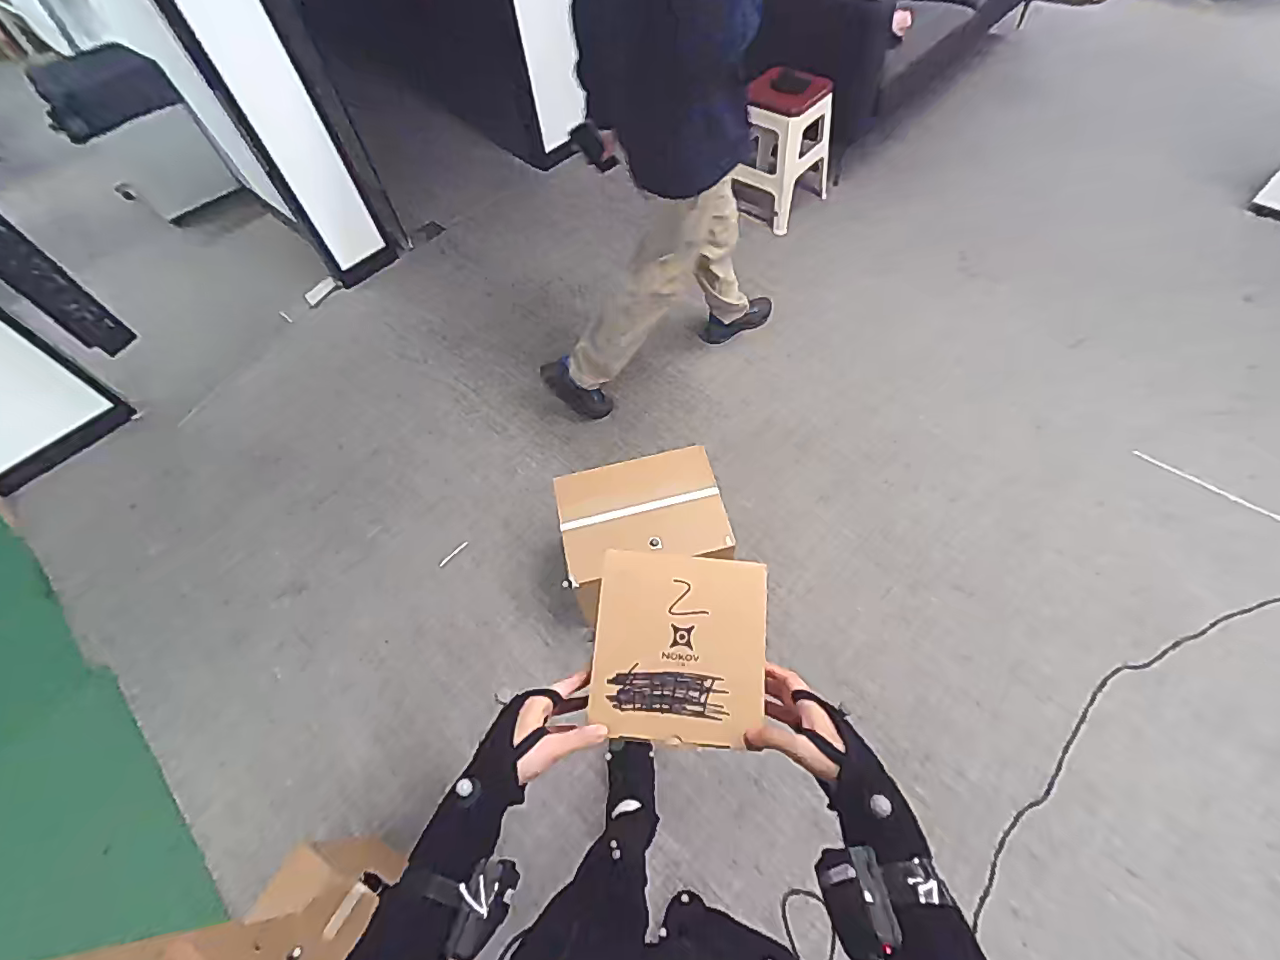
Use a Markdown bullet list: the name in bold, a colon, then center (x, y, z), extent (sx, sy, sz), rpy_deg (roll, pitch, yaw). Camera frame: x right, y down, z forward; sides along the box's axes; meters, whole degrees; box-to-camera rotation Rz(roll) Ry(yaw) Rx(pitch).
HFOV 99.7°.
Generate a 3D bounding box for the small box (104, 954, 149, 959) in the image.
- **small box**: center (-0.590, 0.622, 0.535), extent (0.168, 0.176, 0.179), rpy_deg (23, 60, 19)

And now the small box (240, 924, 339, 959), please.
- **small box**: center (-0.563, 0.806, 0.805), extent (0.179, 0.176, 0.168), rpy_deg (24, 61, 19)

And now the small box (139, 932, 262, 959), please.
- **small box**: center (-0.575, 0.712, 0.672), extent (0.168, 0.176, 0.179), rpy_deg (23, 61, 18)

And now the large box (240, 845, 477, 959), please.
- **large box**: center (-0.577, 0.967, 0.993), extent (0.320, 0.320, 0.408), rpy_deg (22, 62, 20)
